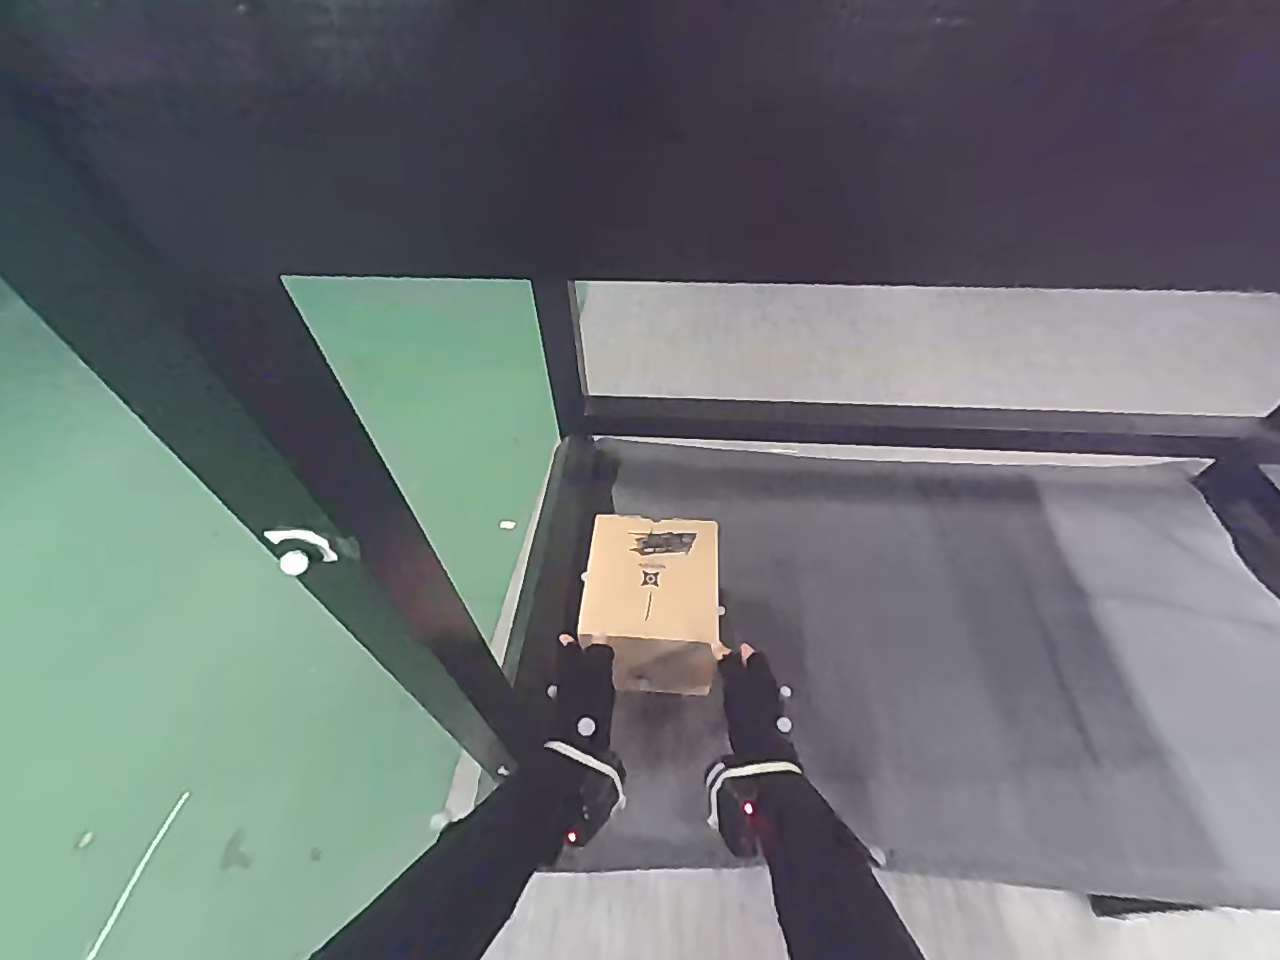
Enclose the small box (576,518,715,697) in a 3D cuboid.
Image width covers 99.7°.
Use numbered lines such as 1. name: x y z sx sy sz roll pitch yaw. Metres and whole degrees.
1. small box: 0.013 0.175 0.741 0.168 0.176 0.179 3 49 4
